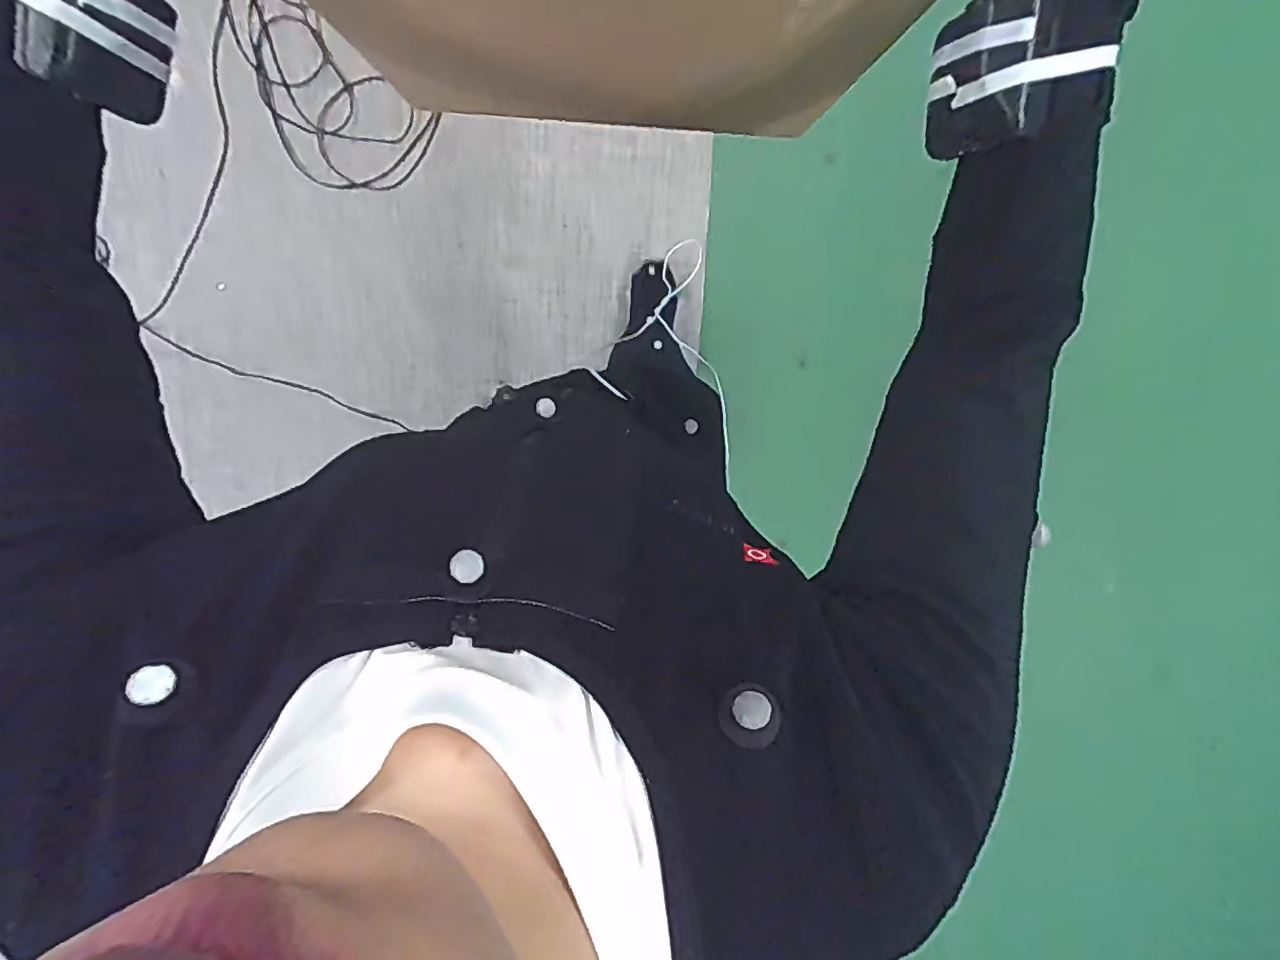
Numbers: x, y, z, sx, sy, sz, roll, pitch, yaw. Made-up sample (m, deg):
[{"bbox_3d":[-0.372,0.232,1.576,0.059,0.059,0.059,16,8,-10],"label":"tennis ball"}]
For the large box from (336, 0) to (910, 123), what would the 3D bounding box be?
[{"bbox_3d":[-0.016,-0.483,0.376,0.408,0.320,0.320,2,107,-4],"label":"large box"}]
